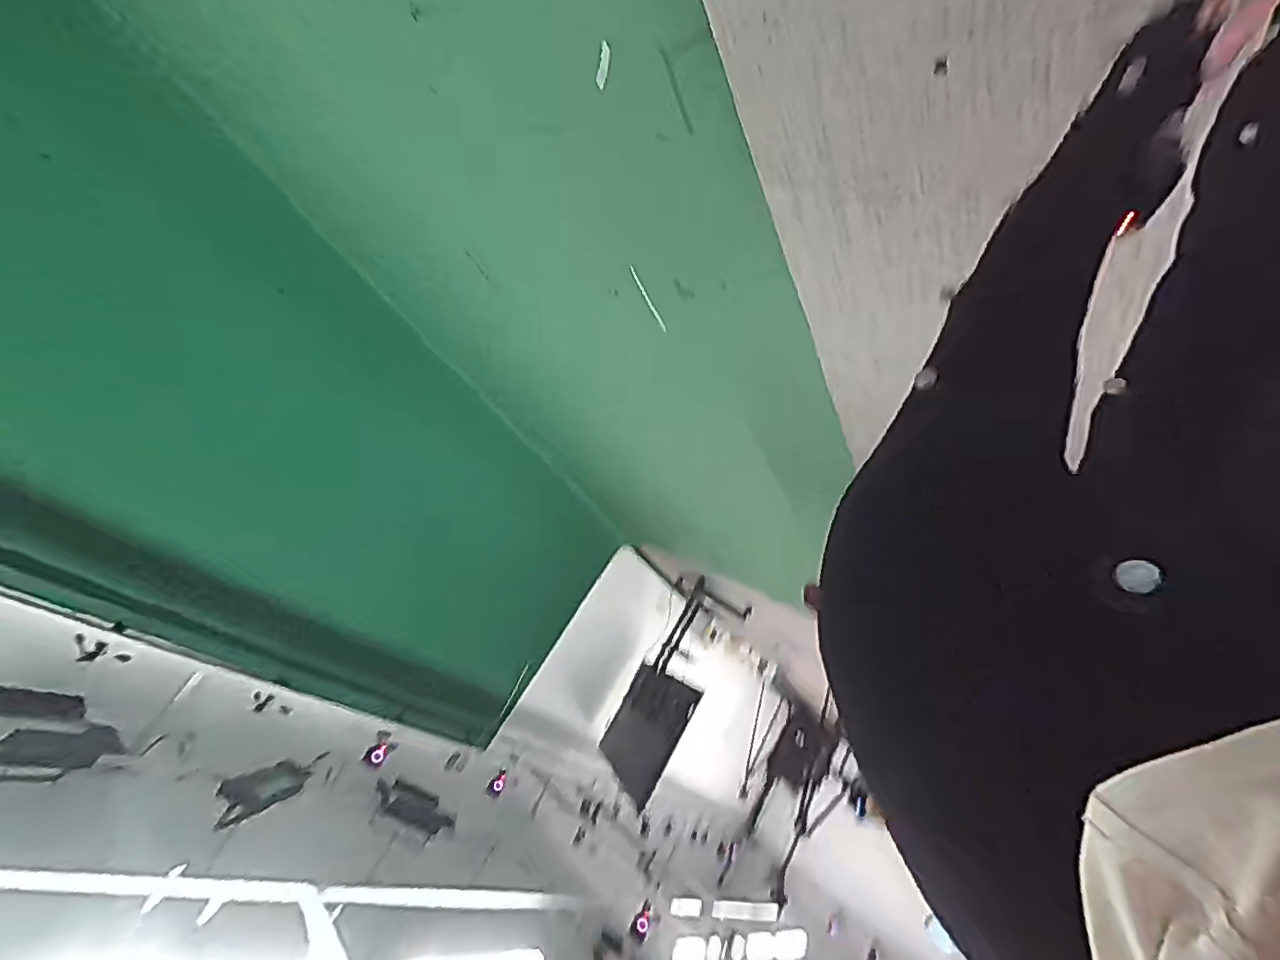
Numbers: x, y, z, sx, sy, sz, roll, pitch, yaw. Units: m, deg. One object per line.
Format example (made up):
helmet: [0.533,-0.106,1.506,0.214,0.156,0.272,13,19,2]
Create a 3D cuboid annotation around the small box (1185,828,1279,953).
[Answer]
small box: [1.400,0.940,1.242,0.168,0.176,0.179,17,156,44]
